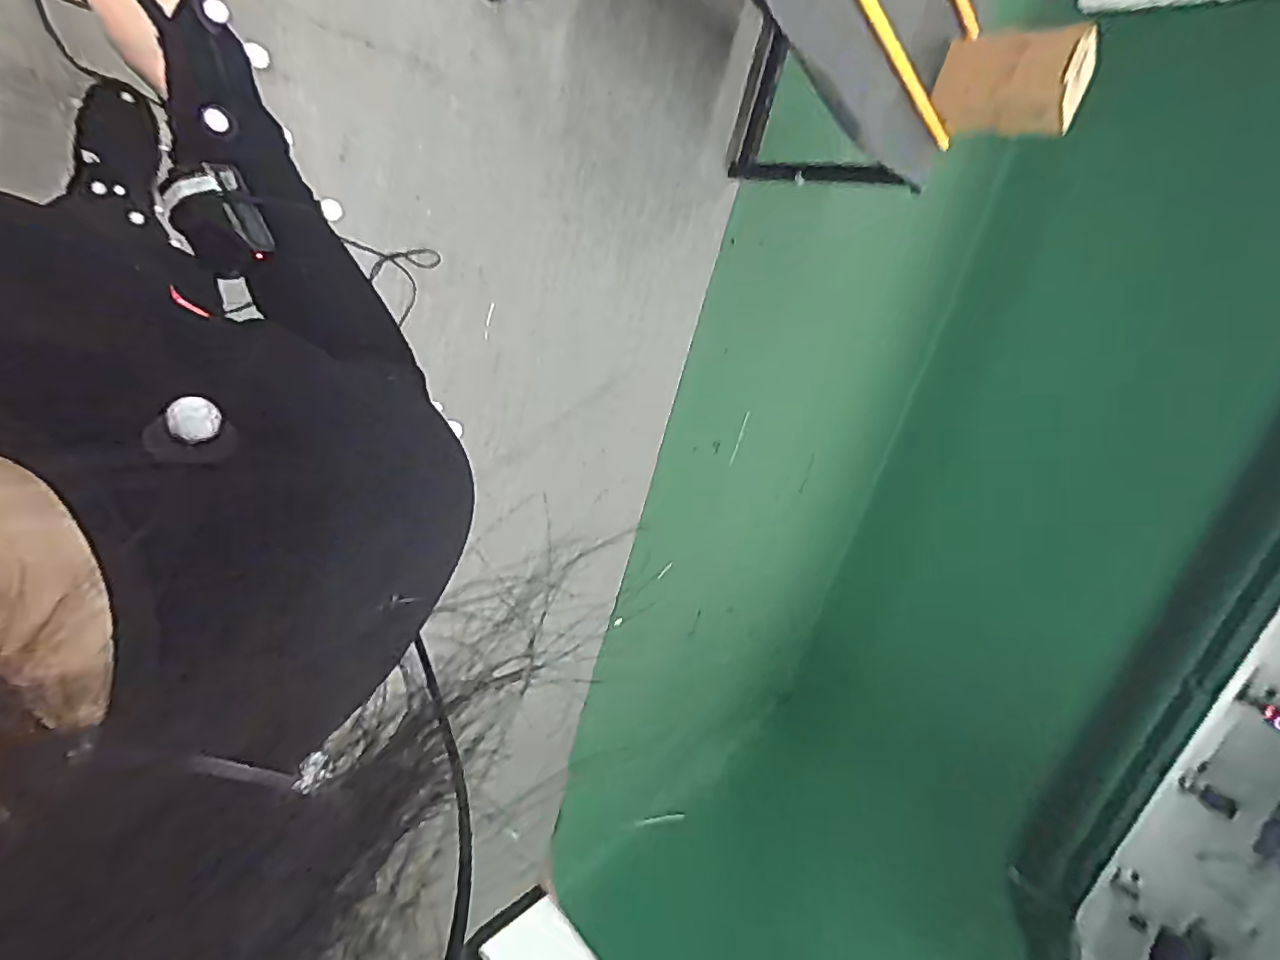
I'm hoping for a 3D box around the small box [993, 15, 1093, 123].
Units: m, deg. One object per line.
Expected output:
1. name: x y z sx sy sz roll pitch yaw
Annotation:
1. small box: 1.069 -1.081 1.442 0.179 0.176 0.168 4 110 -51
